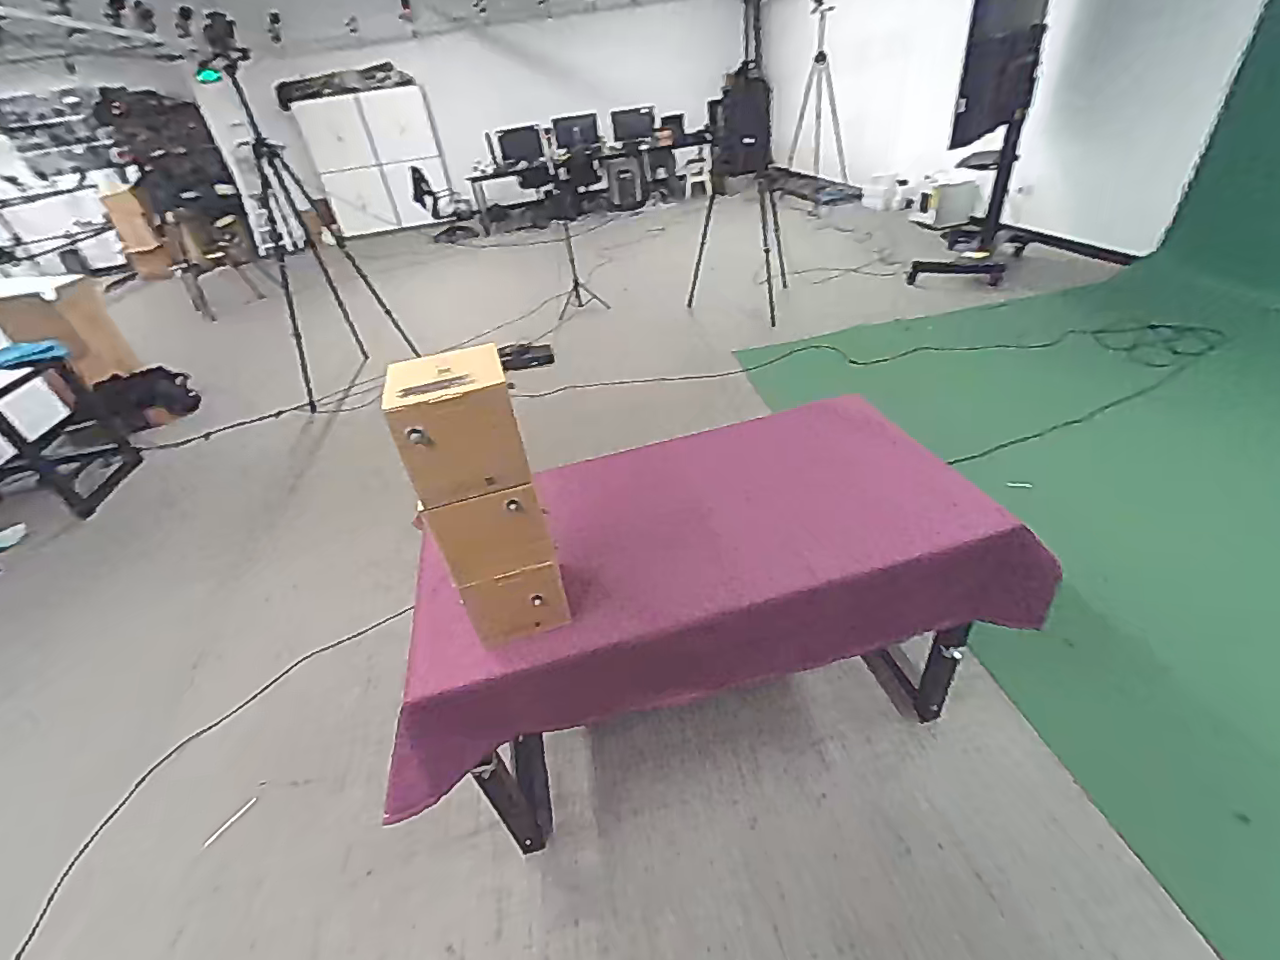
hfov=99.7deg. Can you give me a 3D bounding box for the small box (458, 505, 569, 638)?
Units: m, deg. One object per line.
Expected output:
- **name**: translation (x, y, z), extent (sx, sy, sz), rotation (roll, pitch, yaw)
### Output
- **small box**: translation (-0.237, 0.175, 1.021), extent (0.168, 0.176, 0.179), rotation (-14, 36, -9)

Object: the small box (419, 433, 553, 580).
- **small box**: translation (-0.260, 0.046, 0.925), extent (0.179, 0.176, 0.168), rotation (-14, 37, -11)
